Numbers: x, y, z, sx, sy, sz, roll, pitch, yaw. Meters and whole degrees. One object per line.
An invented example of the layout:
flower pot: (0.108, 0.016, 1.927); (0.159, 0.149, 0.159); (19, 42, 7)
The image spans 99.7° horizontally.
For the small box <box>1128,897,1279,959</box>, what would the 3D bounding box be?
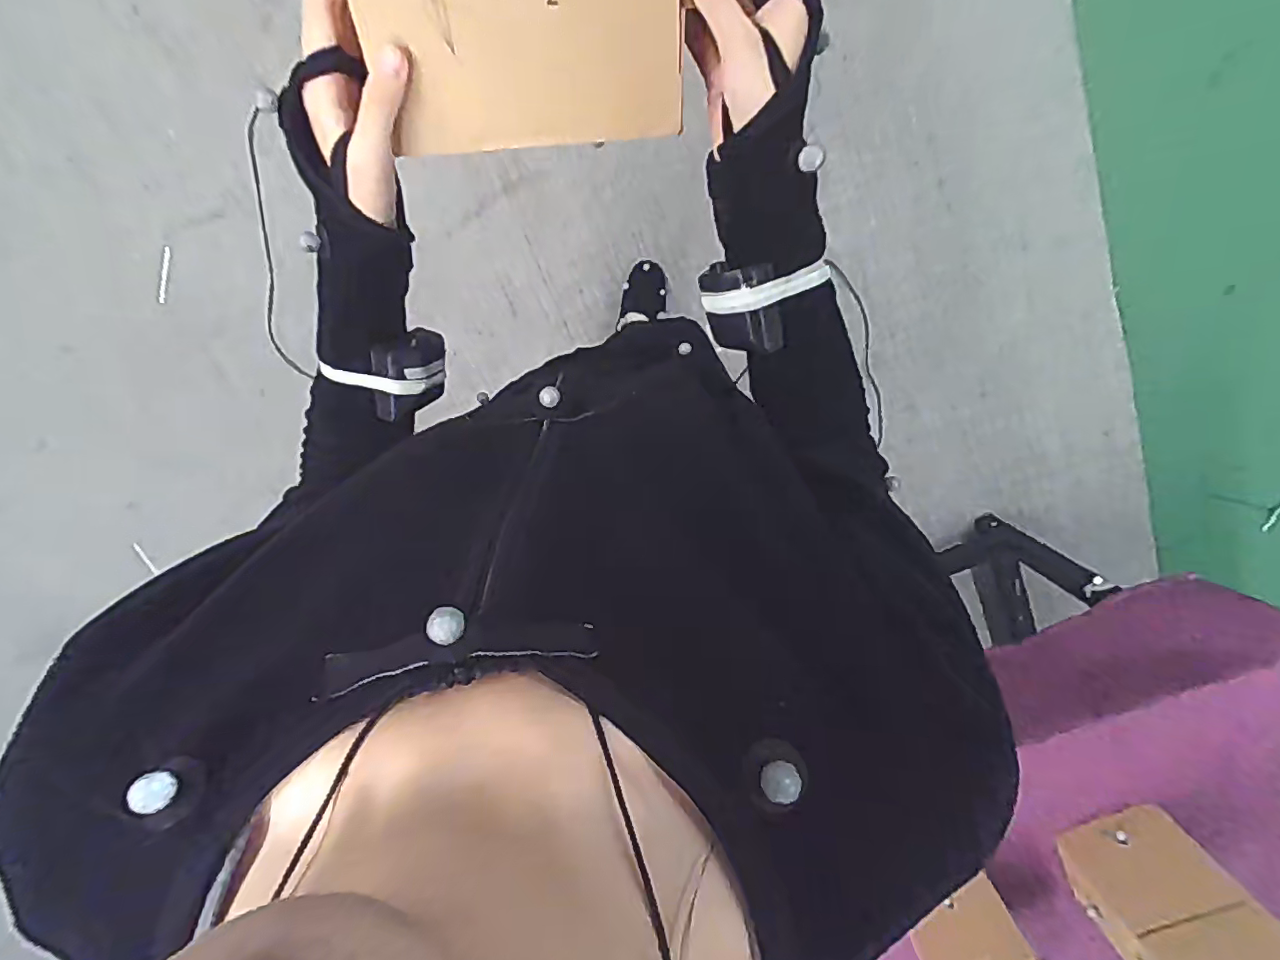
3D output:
small box: (0.832, 0.736, 0.750); (0.179, 0.176, 0.168); (-25, 106, 6)

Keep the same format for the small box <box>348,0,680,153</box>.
small box: (-0.080, -0.317, 0.333); (0.179, 0.176, 0.168); (-9, 133, -8)

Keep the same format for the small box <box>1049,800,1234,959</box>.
small box: (0.832, 0.685, 0.907); (0.179, 0.176, 0.168); (-25, 106, 8)
